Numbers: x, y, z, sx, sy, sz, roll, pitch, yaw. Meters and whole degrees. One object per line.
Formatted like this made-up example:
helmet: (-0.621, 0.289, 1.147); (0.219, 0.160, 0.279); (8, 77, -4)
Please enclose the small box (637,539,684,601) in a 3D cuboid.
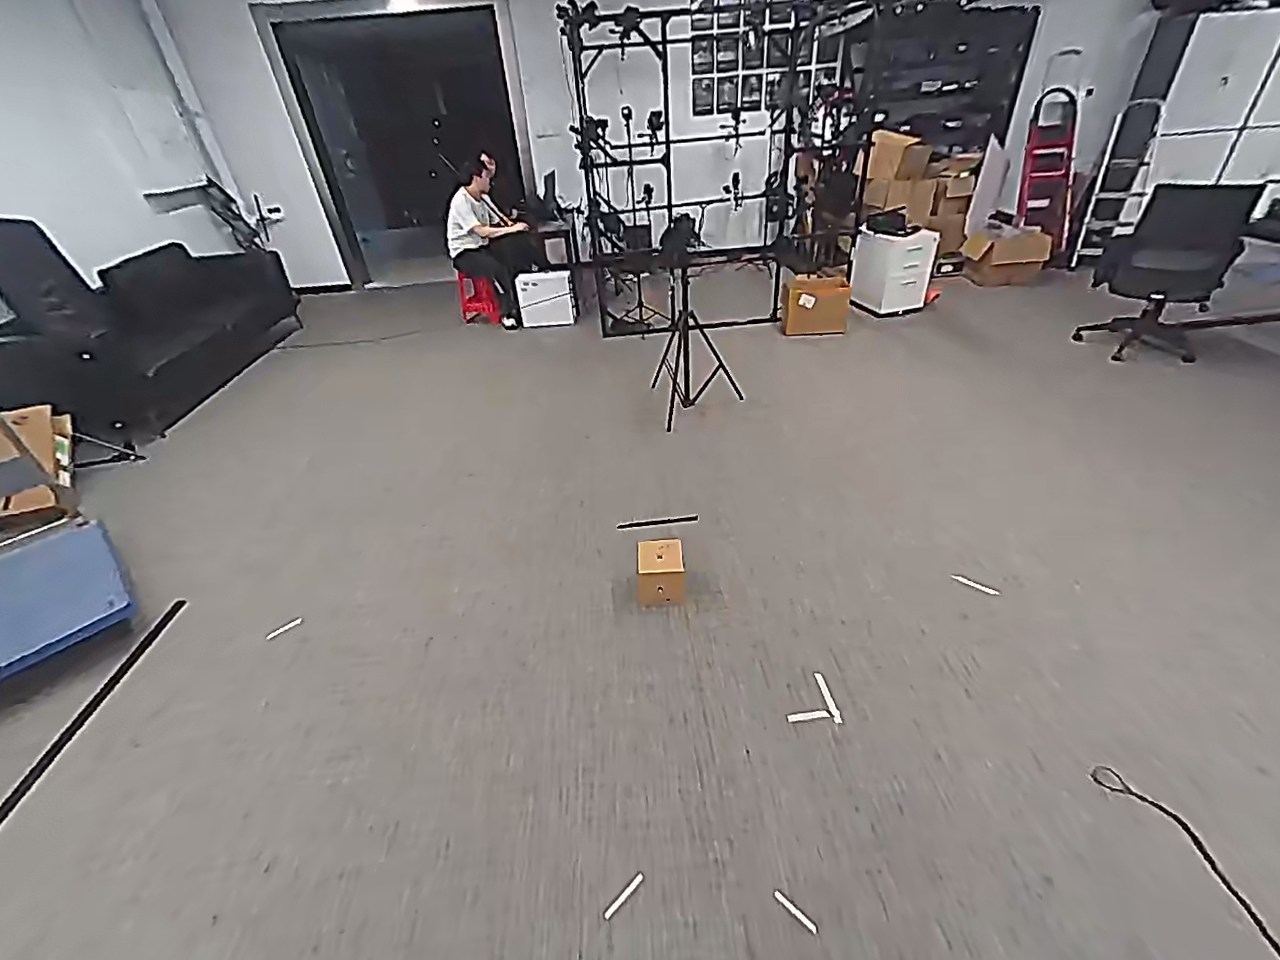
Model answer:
small box: (0.078, 0.347, 2.057); (0.168, 0.176, 0.179); (-3, 34, 2)
